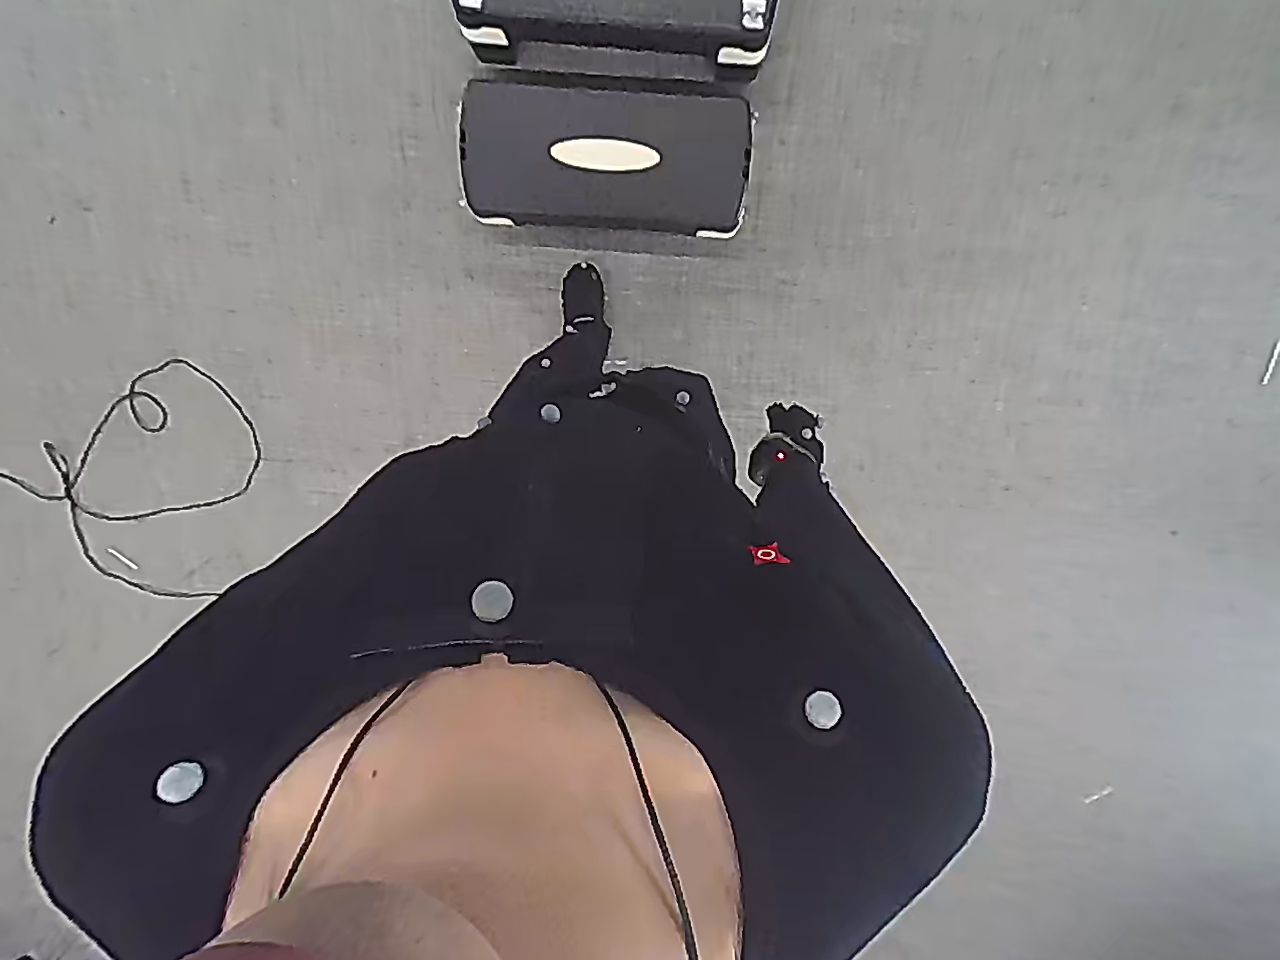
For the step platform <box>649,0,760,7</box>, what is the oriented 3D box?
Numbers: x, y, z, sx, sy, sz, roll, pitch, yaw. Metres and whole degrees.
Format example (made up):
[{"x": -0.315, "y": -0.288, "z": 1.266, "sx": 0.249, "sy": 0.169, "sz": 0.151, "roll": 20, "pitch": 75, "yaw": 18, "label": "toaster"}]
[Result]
[{"x": -0.074, "y": -1.030, "z": 0.917, "sx": 0.684, "sy": 0.204, "sz": 0.286, "roll": 4, "pitch": 106, "yaw": 0, "label": "step platform"}]
